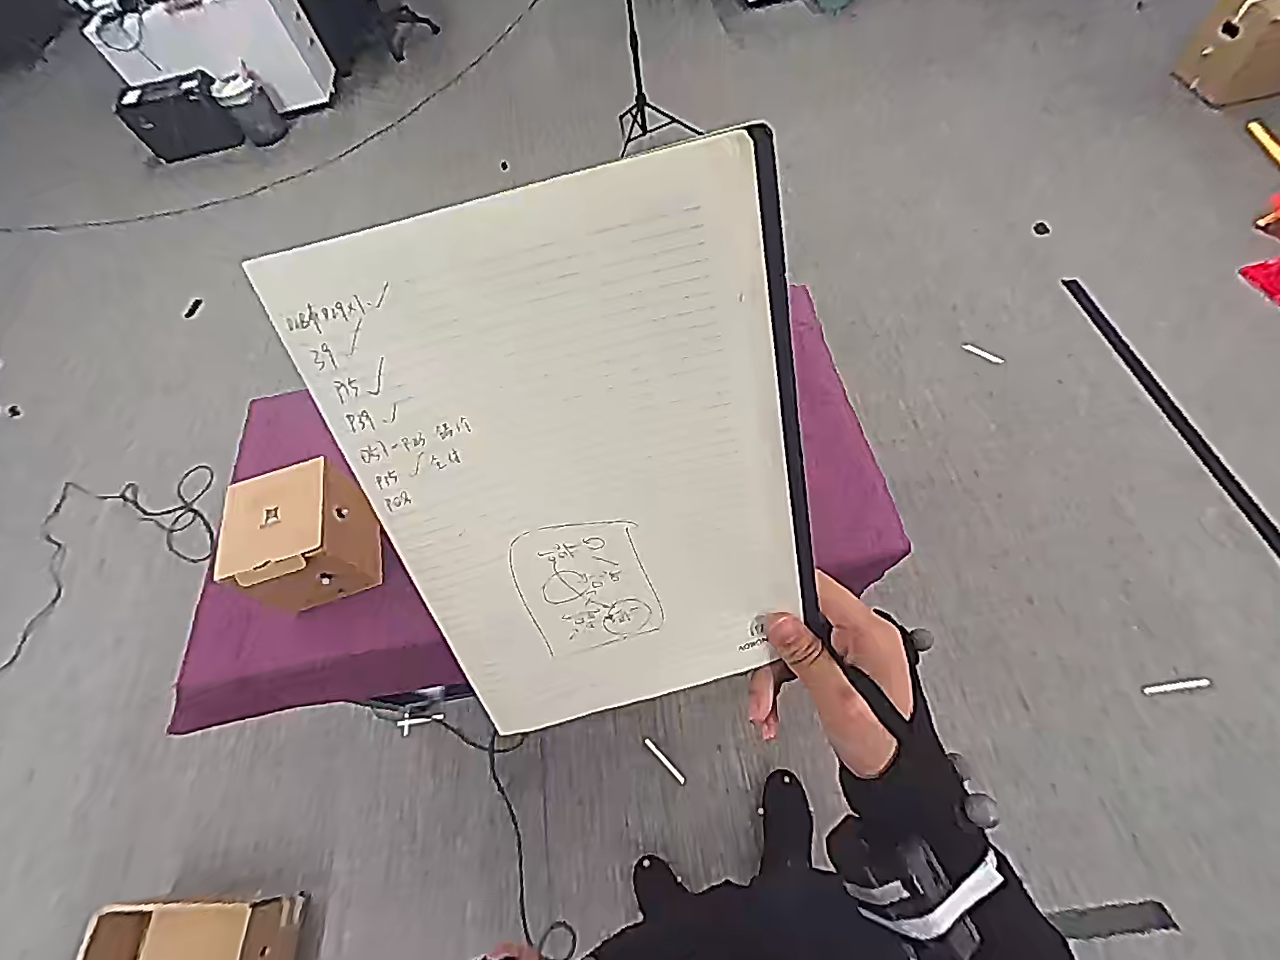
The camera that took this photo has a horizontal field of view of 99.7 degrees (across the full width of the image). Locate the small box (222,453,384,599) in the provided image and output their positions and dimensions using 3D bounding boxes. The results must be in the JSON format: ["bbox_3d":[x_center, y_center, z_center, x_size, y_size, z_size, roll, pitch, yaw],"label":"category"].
[{"bbox_3d":[-0.552,0.087,0.910,0.168,0.176,0.179,-17,60,-1],"label":"small box"}]
